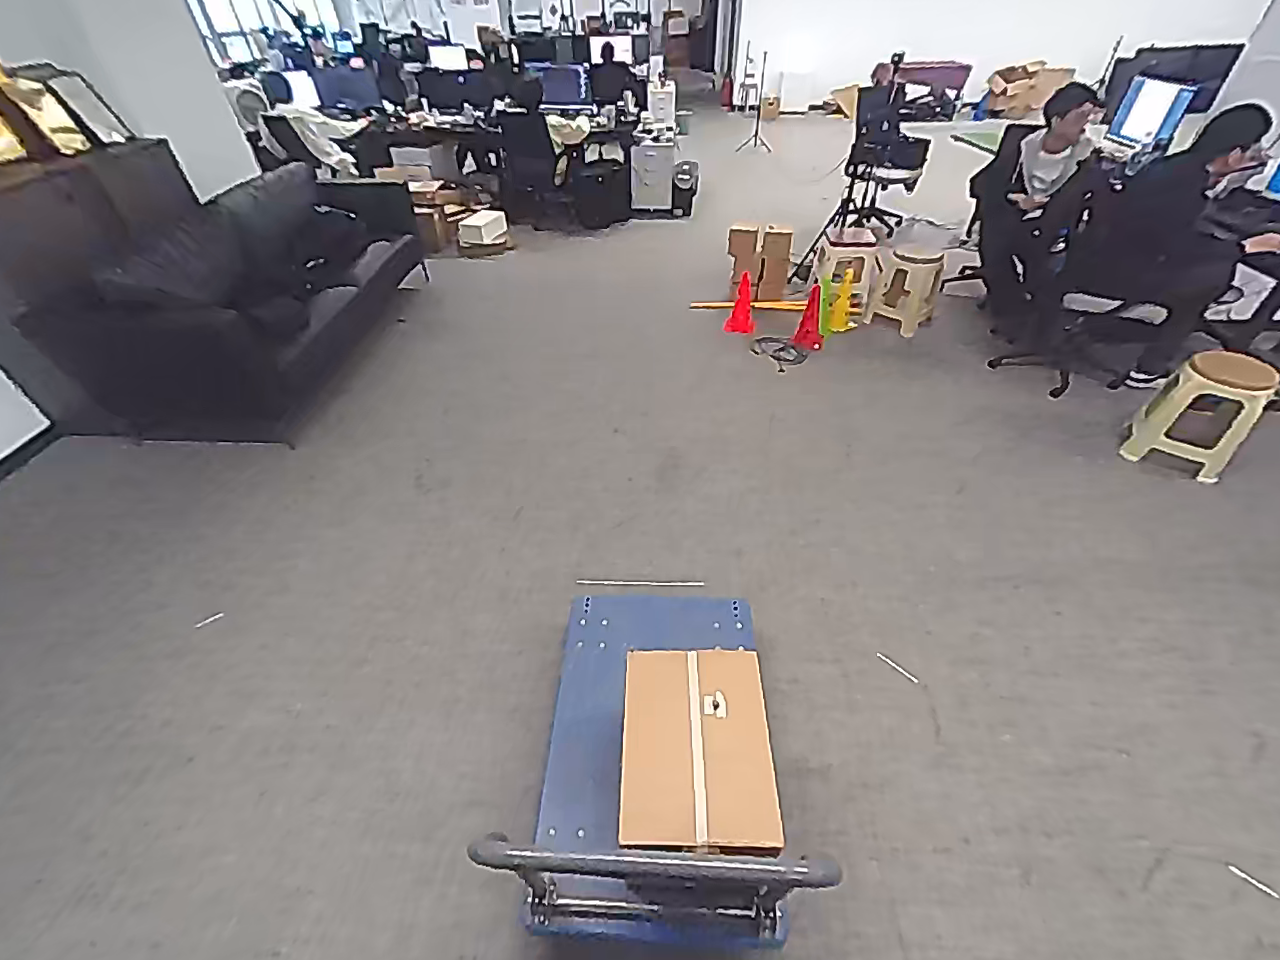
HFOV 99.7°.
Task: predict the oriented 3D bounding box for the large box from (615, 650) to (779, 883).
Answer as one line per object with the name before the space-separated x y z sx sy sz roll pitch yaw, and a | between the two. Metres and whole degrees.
large box | 0.113 0.654 1.249 0.320 0.320 0.408 0 42 1
